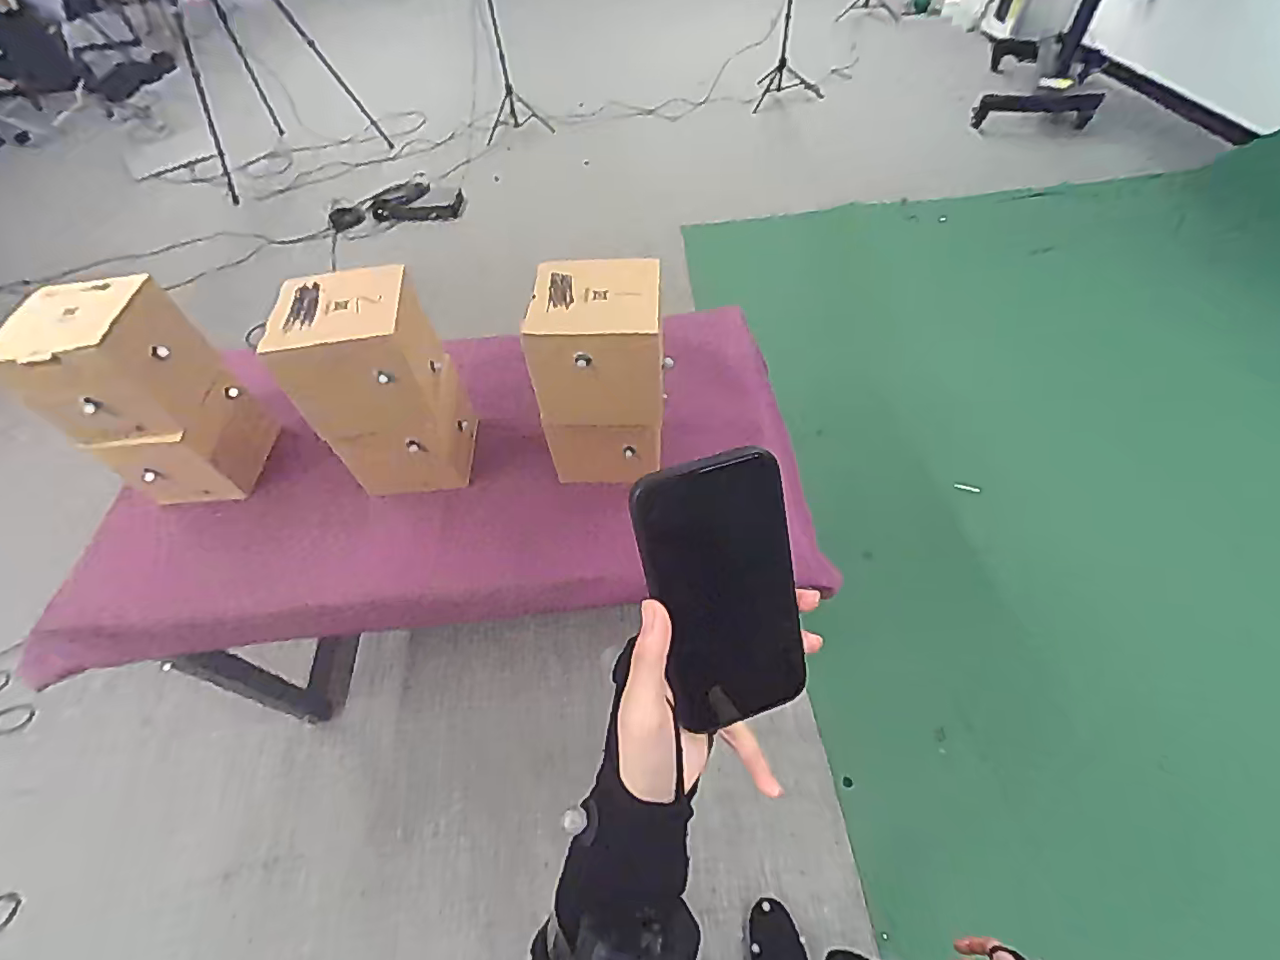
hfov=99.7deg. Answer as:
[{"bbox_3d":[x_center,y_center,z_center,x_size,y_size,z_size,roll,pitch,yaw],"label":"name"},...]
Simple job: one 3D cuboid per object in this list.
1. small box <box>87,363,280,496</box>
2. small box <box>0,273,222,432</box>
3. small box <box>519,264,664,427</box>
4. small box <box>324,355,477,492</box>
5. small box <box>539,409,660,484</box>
[{"bbox_3d":[-0.788,-0.083,0.961,0.168,0.176,0.179,-3,53,2],"label":"small box"},{"bbox_3d":[-0.798,-0.188,0.834,0.168,0.176,0.179,-7,54,-2],"label":"small box"},{"bbox_3d":[-0.058,-0.191,0.784,0.179,0.176,0.168,1,53,4],"label":"small box"},{"bbox_3d":[-0.398,-0.094,0.939,0.179,0.176,0.168,-4,53,1],"label":"small box"},{"bbox_3d":[-0.058,-0.105,0.924,0.179,0.176,0.168,1,53,5],"label":"small box"}]
